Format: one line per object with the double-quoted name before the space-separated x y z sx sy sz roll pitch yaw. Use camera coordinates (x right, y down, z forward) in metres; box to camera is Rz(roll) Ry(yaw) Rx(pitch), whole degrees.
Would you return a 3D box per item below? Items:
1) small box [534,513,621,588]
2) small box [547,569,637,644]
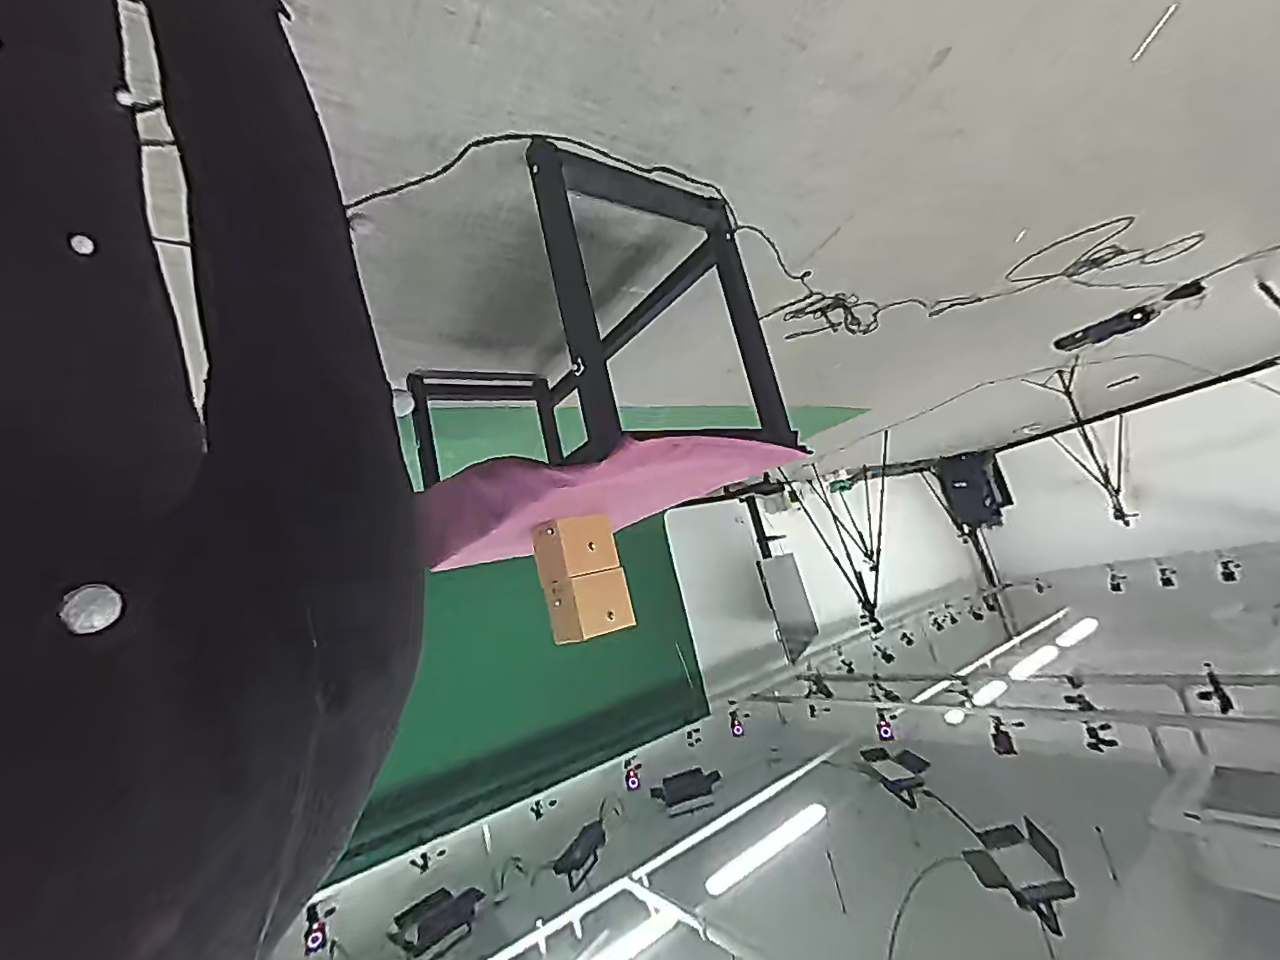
"small box" -0.186 0.200 1.559 0.179 0.176 0.168 -6 166 -38
"small box" -0.139 0.356 1.531 0.179 0.176 0.168 -5 165 -38
